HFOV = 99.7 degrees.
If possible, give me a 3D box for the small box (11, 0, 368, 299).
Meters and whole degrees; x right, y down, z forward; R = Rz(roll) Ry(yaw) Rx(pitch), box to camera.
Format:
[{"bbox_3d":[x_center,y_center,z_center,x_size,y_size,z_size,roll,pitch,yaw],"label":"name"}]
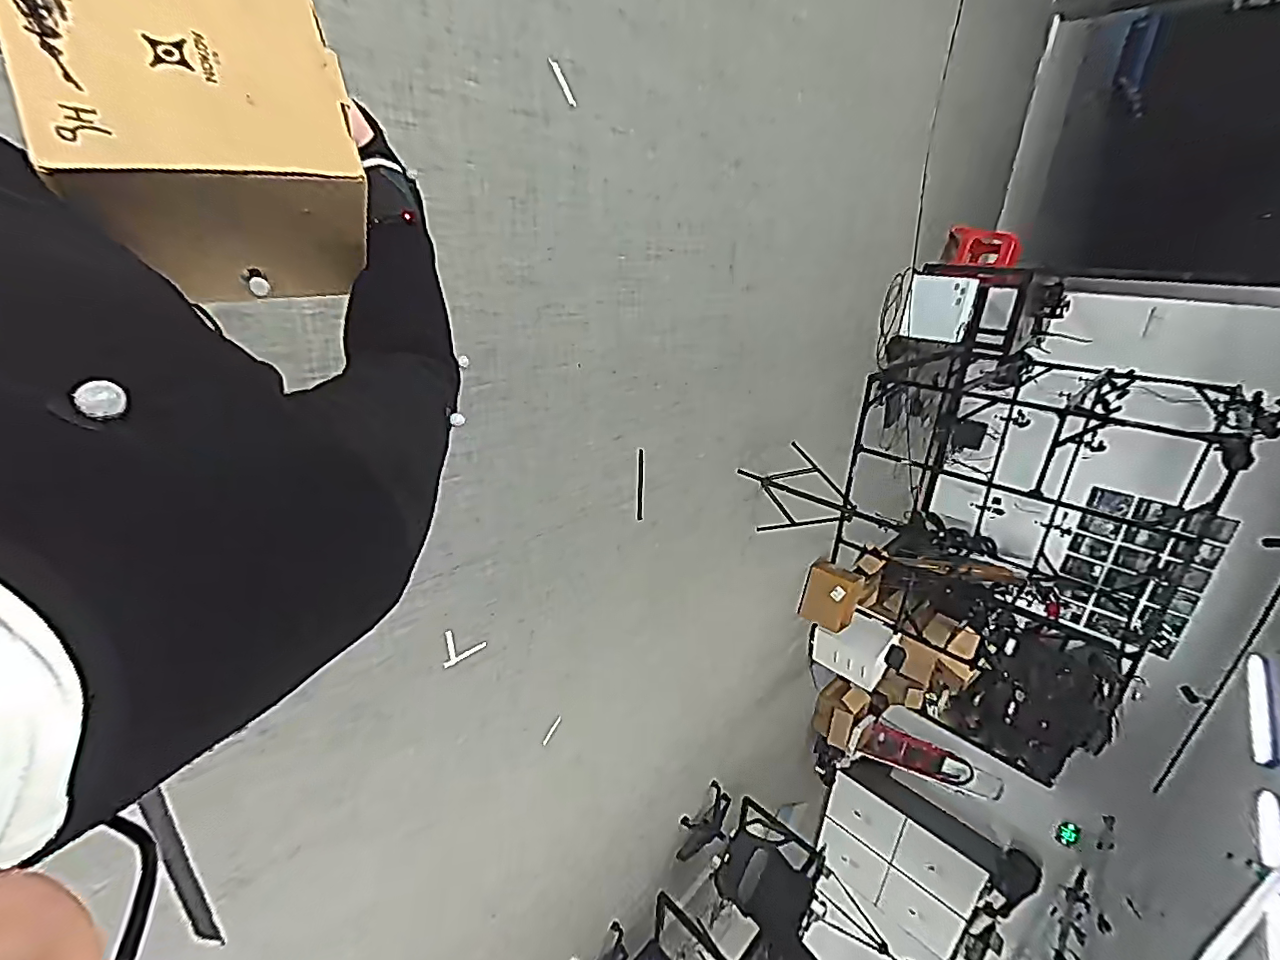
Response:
[{"bbox_3d":[-0.337,-0.263,0.437,0.179,0.176,0.168,-15,85,-30],"label":"small box"}]
